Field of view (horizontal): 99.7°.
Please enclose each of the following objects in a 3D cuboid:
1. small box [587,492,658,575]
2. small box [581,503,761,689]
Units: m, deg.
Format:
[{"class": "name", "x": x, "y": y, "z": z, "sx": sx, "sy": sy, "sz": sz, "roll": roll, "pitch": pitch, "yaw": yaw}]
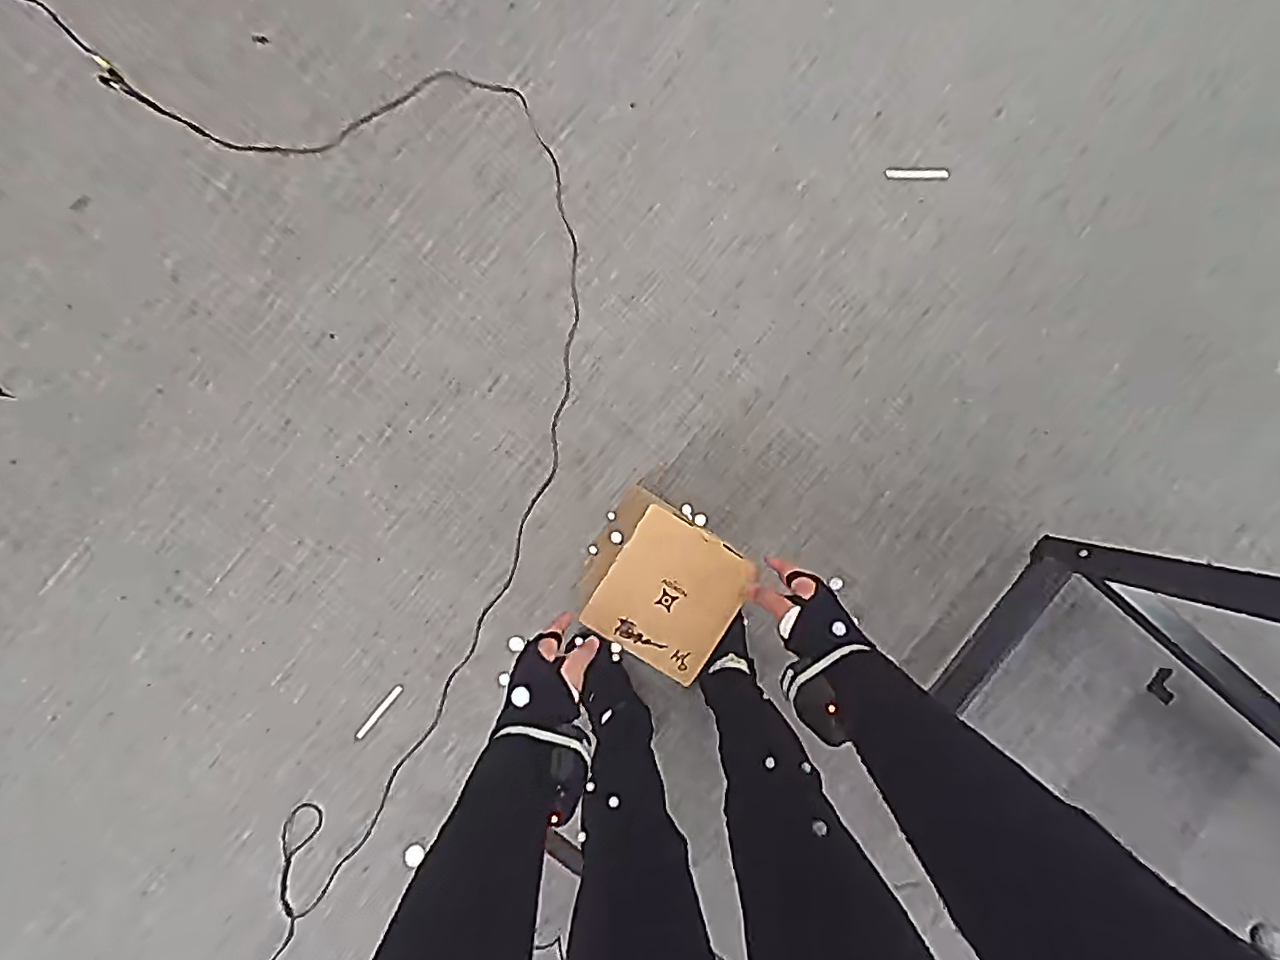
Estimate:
[{"class": "small box", "x": 0.009, "y": 0.136, "z": 1.072, "sx": 0.168, "sy": 0.176, "sz": 0.179, "roll": 36, "pitch": 90, "yaw": -4}, {"class": "small box", "x": 0.033, "y": 0.143, "z": 0.745, "sx": 0.168, "sy": 0.176, "sz": 0.179, "roll": 33, "pitch": 88, "yaw": -3}]
